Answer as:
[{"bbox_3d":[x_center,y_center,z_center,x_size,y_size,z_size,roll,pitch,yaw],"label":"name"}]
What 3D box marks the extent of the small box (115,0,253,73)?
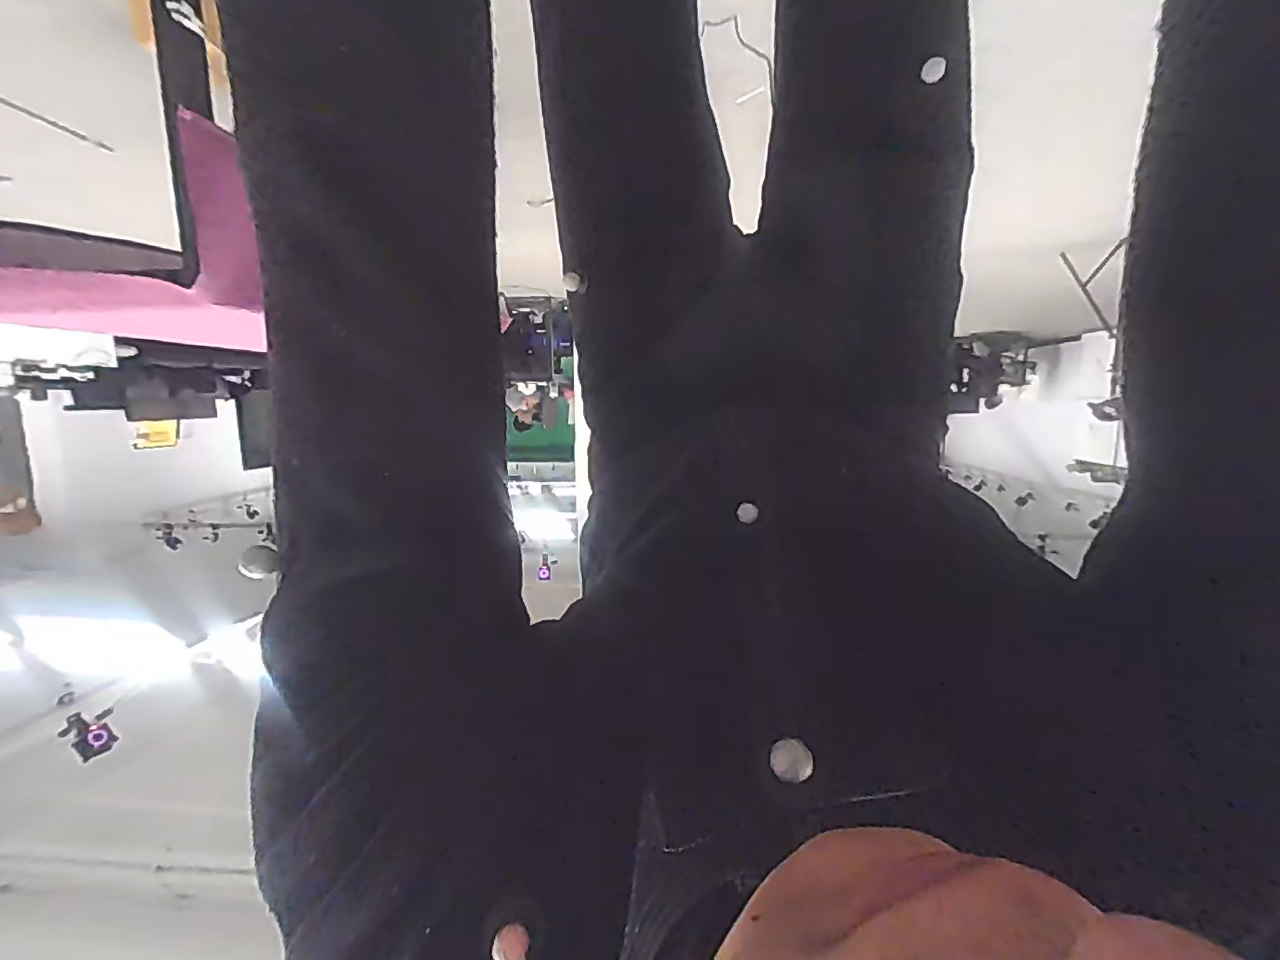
[{"bbox_3d":[-0.980,-1.017,1.157,0.168,0.176,0.179,0,-170,4],"label":"small box"}]
